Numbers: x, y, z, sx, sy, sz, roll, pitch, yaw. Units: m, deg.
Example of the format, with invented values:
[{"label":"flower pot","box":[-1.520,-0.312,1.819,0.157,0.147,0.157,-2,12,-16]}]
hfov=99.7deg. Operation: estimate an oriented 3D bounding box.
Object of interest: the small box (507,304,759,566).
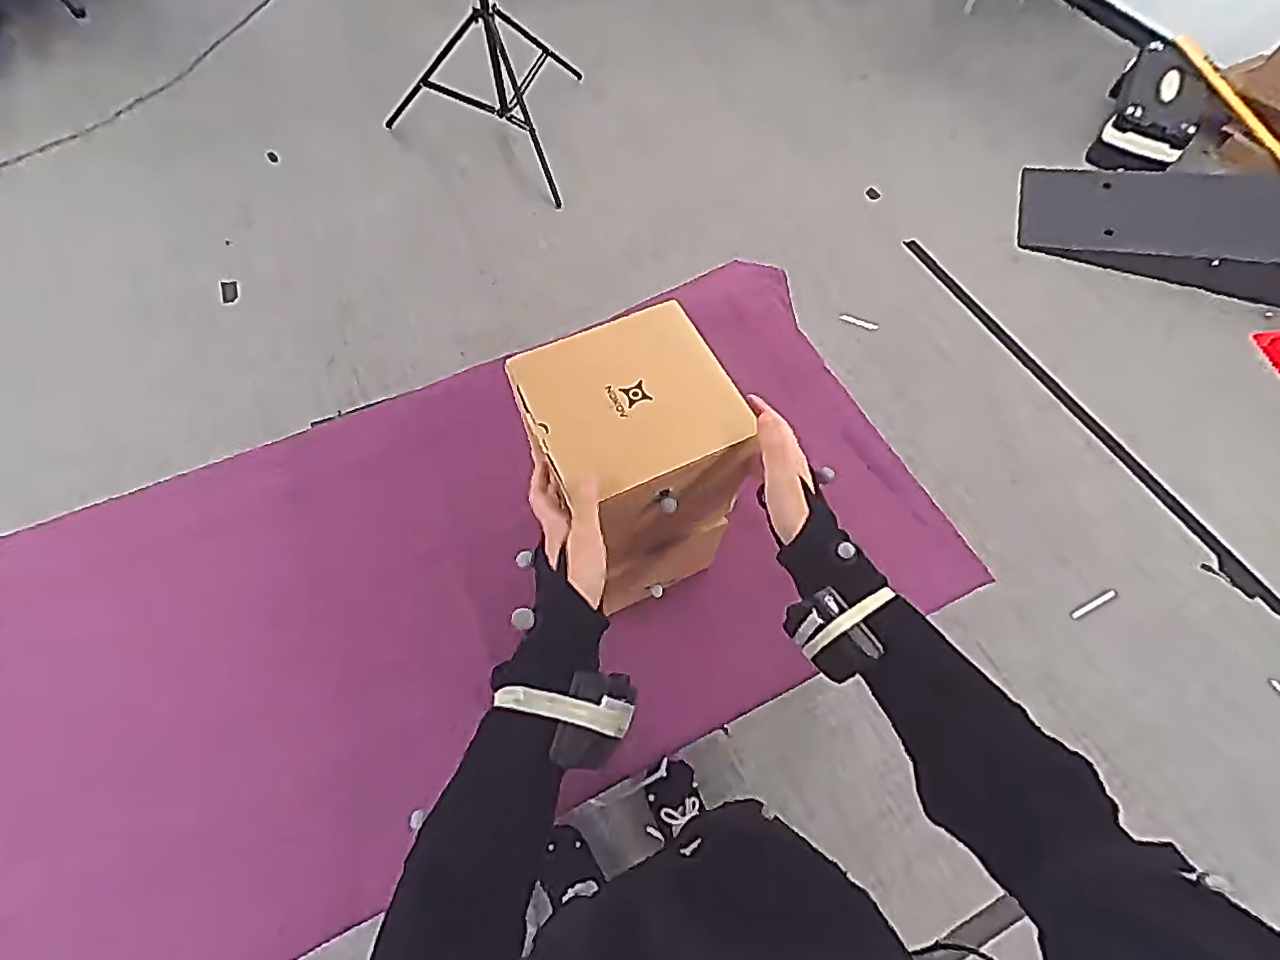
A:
[{"label":"small box","box":[-0.011,-0.036,0.542,0.179,0.176,0.168,-24,67,-11]}]

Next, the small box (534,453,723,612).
[{"label":"small box","box":[-0.019,0.043,0.684,0.168,0.176,0.179,-23,67,-12]}]
